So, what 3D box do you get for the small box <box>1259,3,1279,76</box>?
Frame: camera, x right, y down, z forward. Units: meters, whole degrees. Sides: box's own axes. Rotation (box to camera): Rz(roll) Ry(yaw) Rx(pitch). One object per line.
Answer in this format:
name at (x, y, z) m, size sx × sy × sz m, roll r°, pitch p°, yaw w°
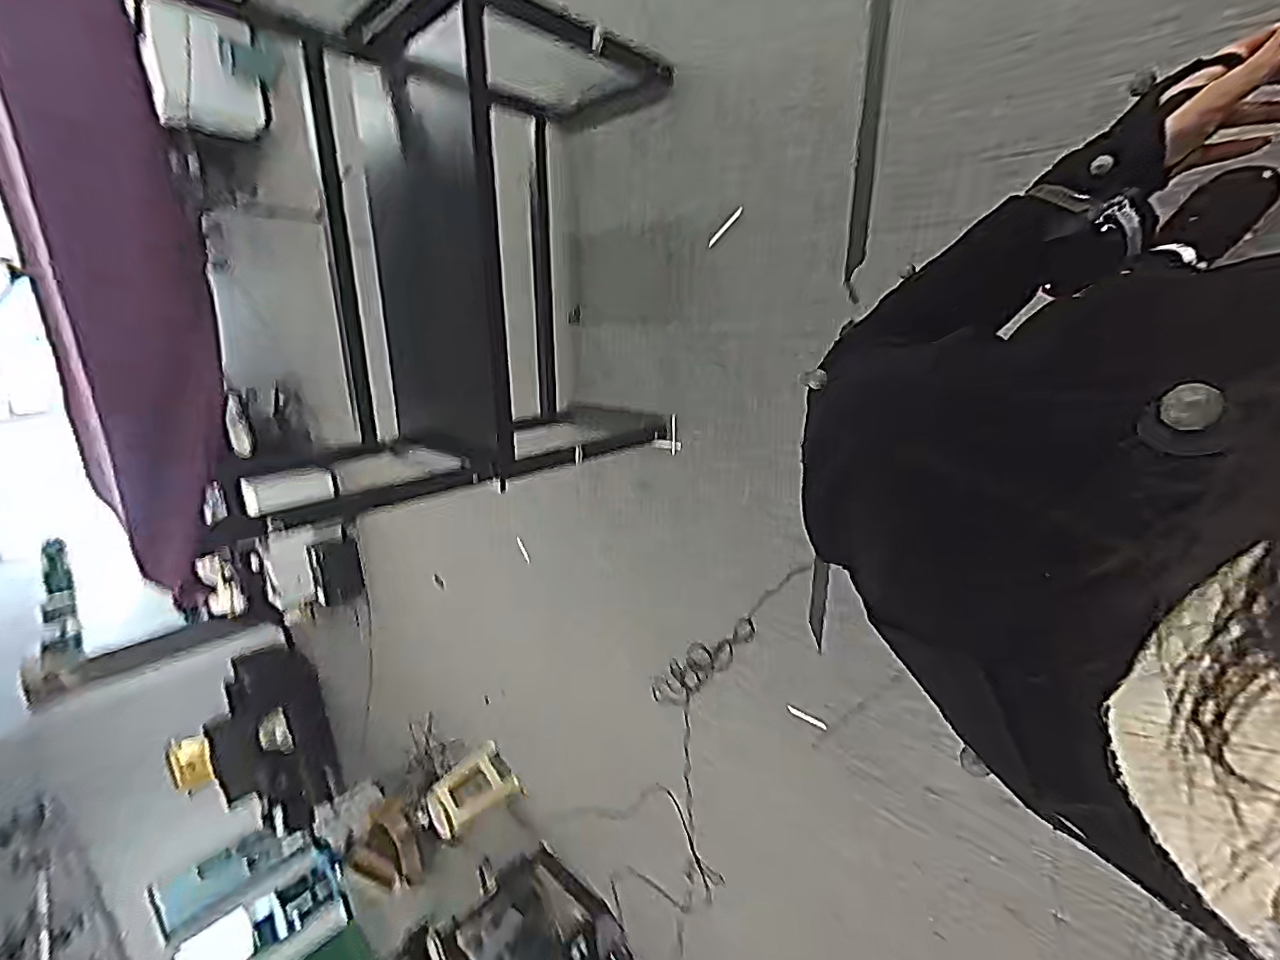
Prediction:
small box at (0.450, -0.297, 0.238) m, size 0.179 × 0.176 × 0.168 m, roll 22°, pitch 122°, yaw 31°
